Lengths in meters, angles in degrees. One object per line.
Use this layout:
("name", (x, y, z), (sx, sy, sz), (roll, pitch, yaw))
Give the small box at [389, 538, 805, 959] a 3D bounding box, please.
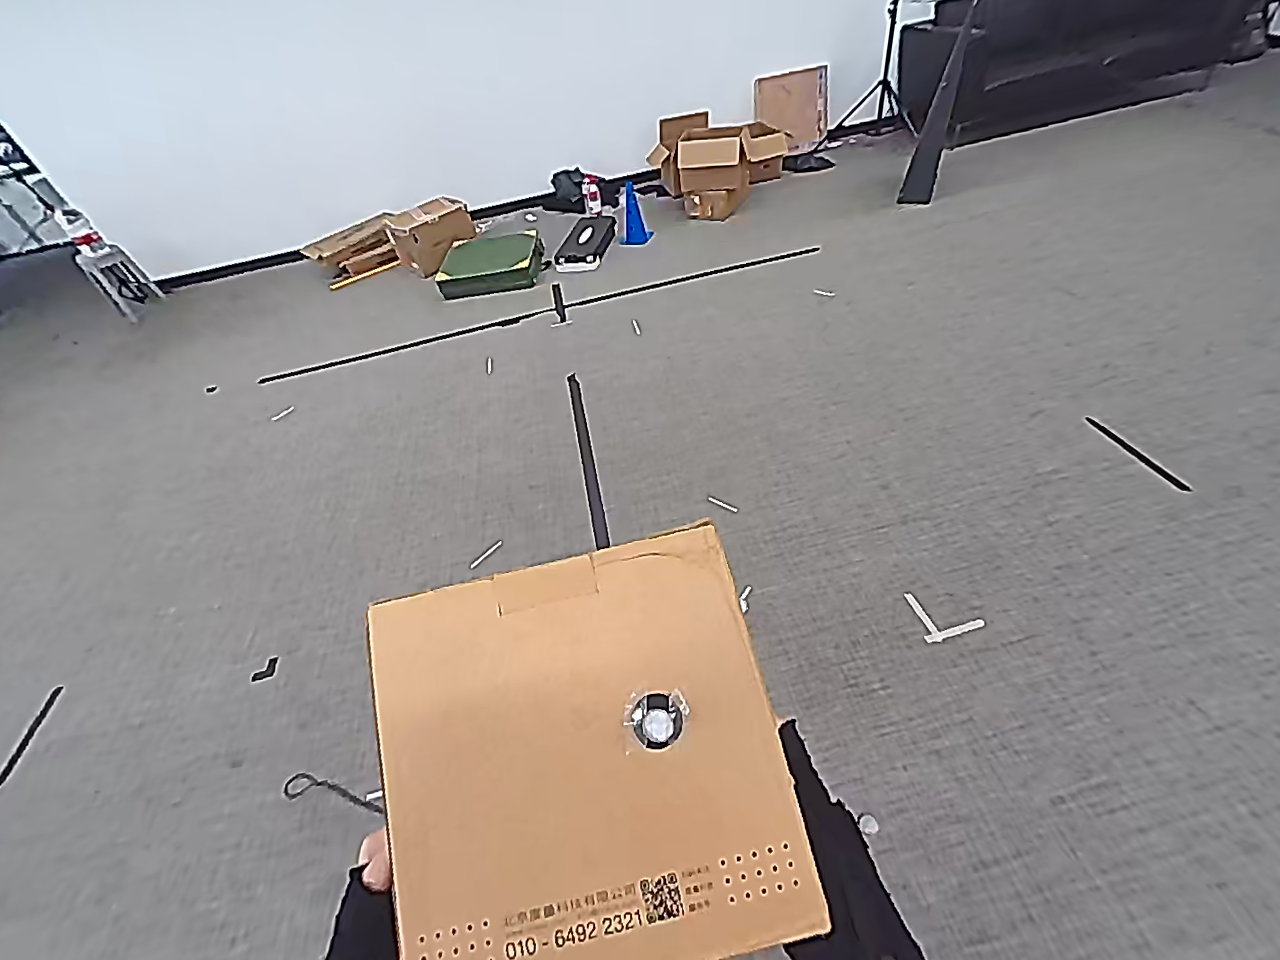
("small box", (-0.019, 0.146, 0.321), (0.168, 0.179, 0.176), (-14, 75, 0))
